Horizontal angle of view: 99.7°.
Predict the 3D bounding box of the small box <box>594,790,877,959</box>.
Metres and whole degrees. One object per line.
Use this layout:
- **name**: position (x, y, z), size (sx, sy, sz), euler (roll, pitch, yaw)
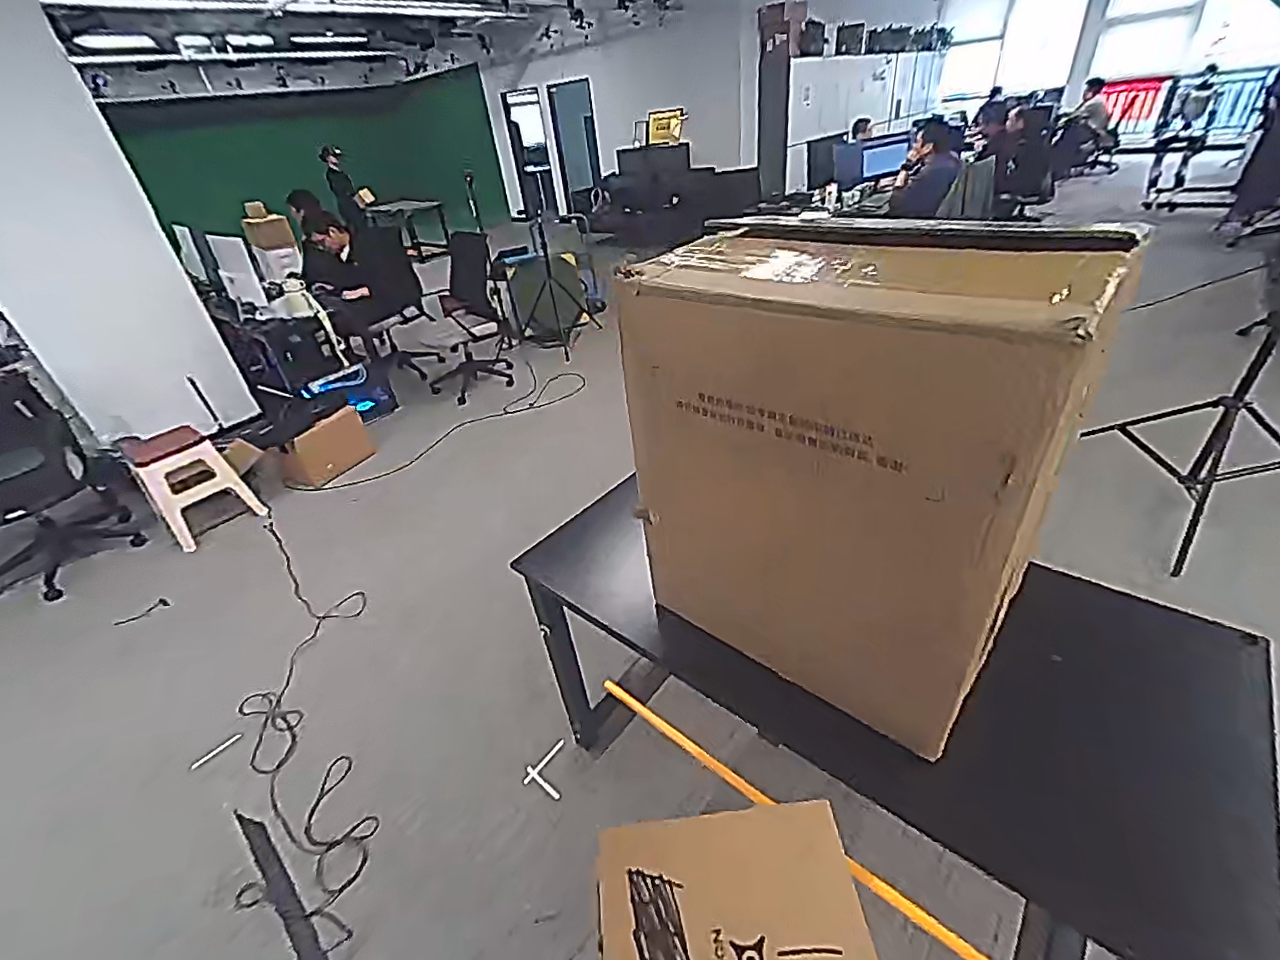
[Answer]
- **small box**: position (0.064, 0.352, 0.400), size (0.179, 0.176, 0.168), euler (-5, 46, -3)
